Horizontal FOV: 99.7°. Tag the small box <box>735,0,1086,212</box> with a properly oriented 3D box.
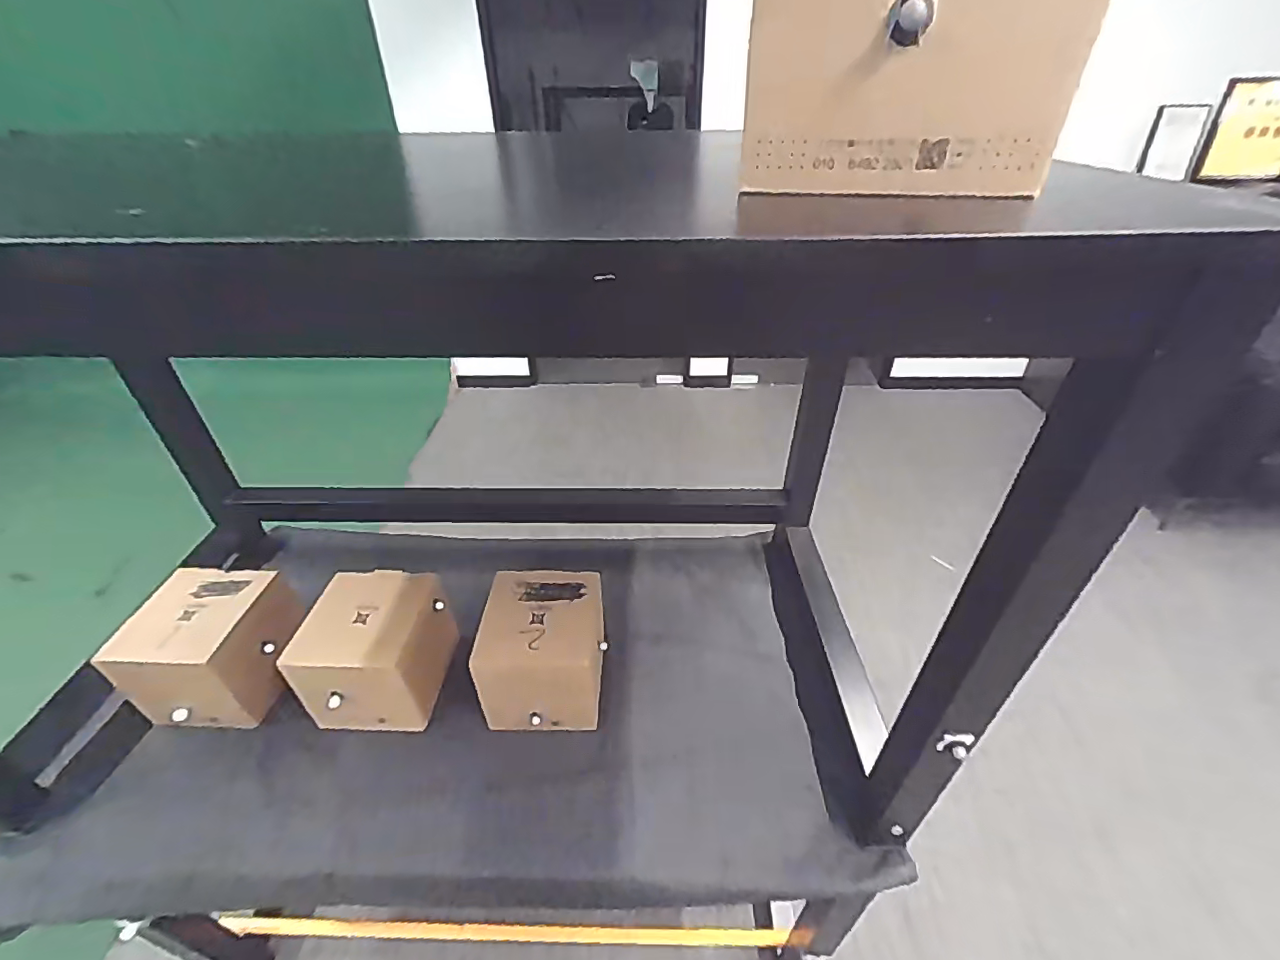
[{"bbox_3d":[0.153,-0.273,0.338,0.168,0.176,0.179,7,37,10],"label":"small box"}]

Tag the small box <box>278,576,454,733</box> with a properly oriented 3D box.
[{"bbox_3d":[-0.406,0.272,0.843,0.168,0.176,0.179,1,36,2],"label":"small box"}]

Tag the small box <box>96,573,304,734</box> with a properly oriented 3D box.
[{"bbox_3d":[-0.659,0.268,0.846,0.168,0.176,0.179,1,37,2],"label":"small box"}]
